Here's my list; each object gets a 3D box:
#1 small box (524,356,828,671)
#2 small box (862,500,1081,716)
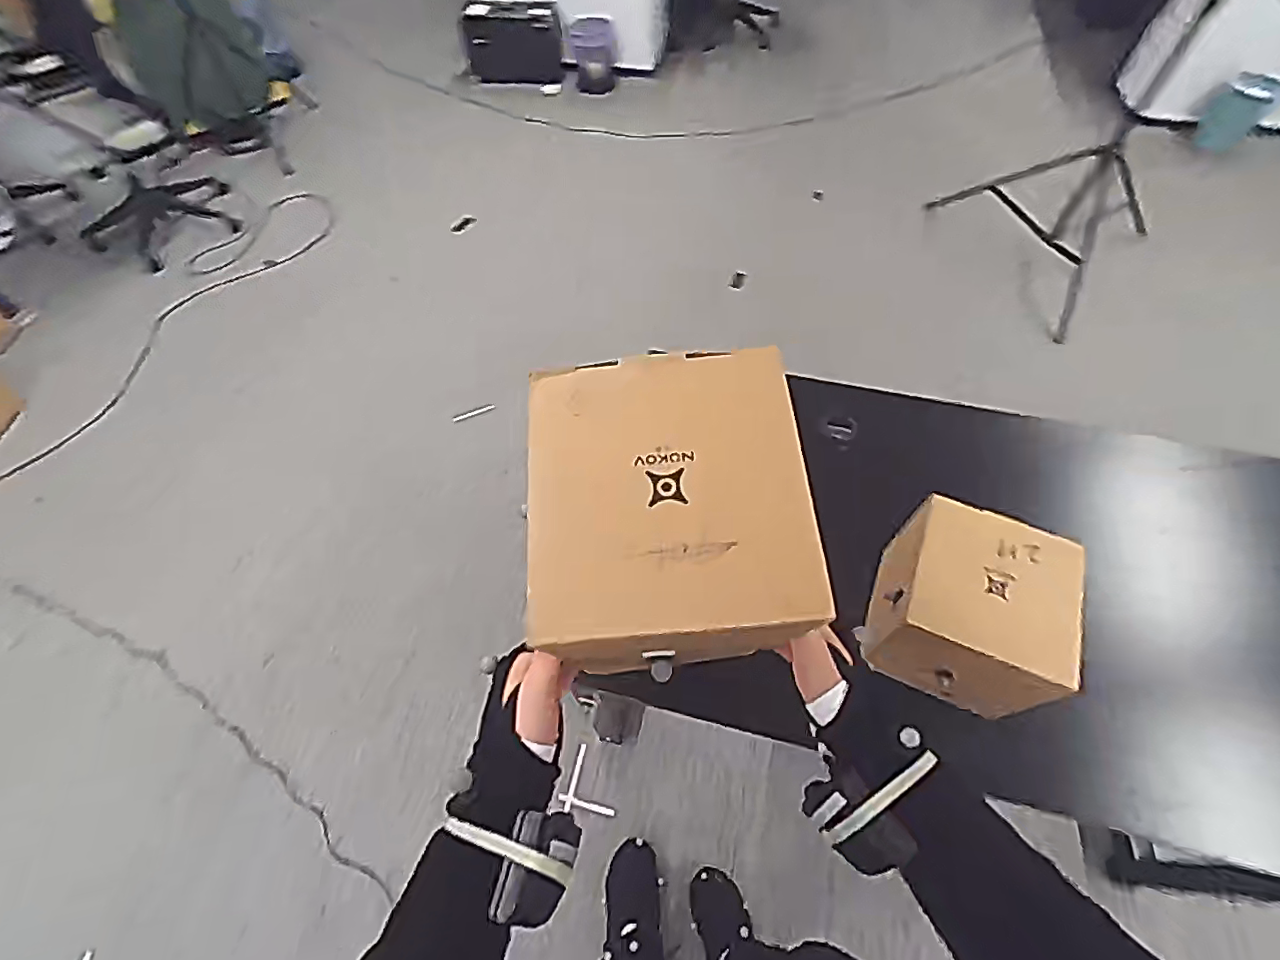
[{"bbox_3d":[0.016,0.036,0.394,0.168,0.176,0.179,-7,68,1],"label":"small box"},{"bbox_3d":[0.389,0.161,0.657,0.168,0.176,0.179,22,59,14],"label":"small box"}]
